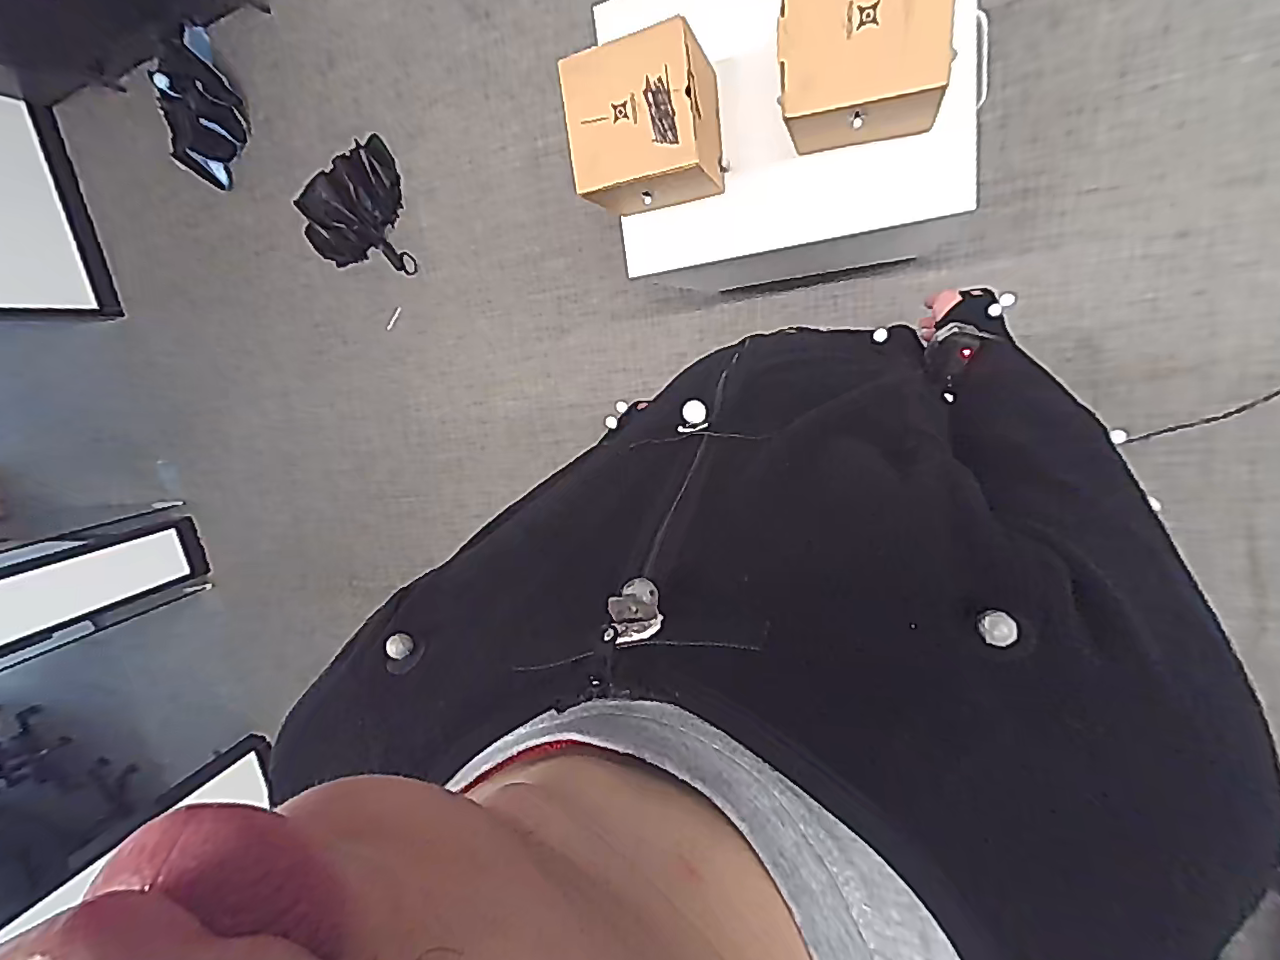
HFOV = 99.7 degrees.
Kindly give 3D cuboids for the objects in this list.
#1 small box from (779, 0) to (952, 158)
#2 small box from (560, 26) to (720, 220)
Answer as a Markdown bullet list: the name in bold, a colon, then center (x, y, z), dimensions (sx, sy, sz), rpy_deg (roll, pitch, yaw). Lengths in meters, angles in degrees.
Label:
- **small box**: center (0.271, -0.515, 0.659), dimensions (0.179, 0.176, 0.168), rpy_deg (2, 107, 21)
- **small box**: center (0.012, -0.487, 0.770), dimensions (0.179, 0.176, 0.168), rpy_deg (-2, 104, 23)
